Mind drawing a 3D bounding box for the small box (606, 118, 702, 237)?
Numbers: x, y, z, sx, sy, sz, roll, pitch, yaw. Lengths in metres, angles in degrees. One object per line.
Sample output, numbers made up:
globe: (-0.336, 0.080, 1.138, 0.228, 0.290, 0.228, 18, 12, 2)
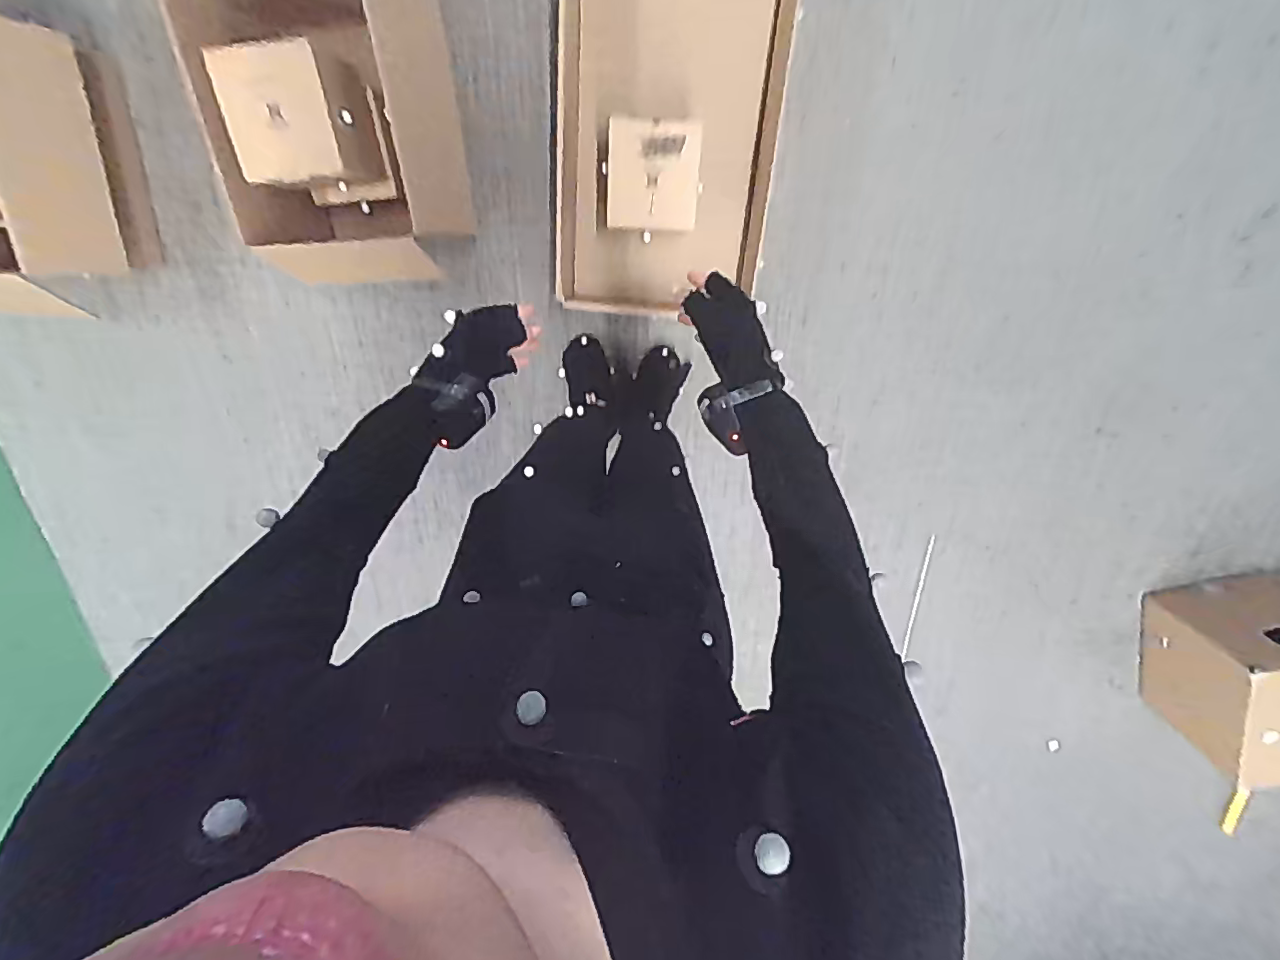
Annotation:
small box: (0.022, -0.573, 1.044, 0.168, 0.176, 0.179, 3, 112, -1)

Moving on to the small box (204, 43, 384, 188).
small box: (-0.558, -0.594, 0.904, 0.168, 0.176, 0.179, -4, 114, 2)
